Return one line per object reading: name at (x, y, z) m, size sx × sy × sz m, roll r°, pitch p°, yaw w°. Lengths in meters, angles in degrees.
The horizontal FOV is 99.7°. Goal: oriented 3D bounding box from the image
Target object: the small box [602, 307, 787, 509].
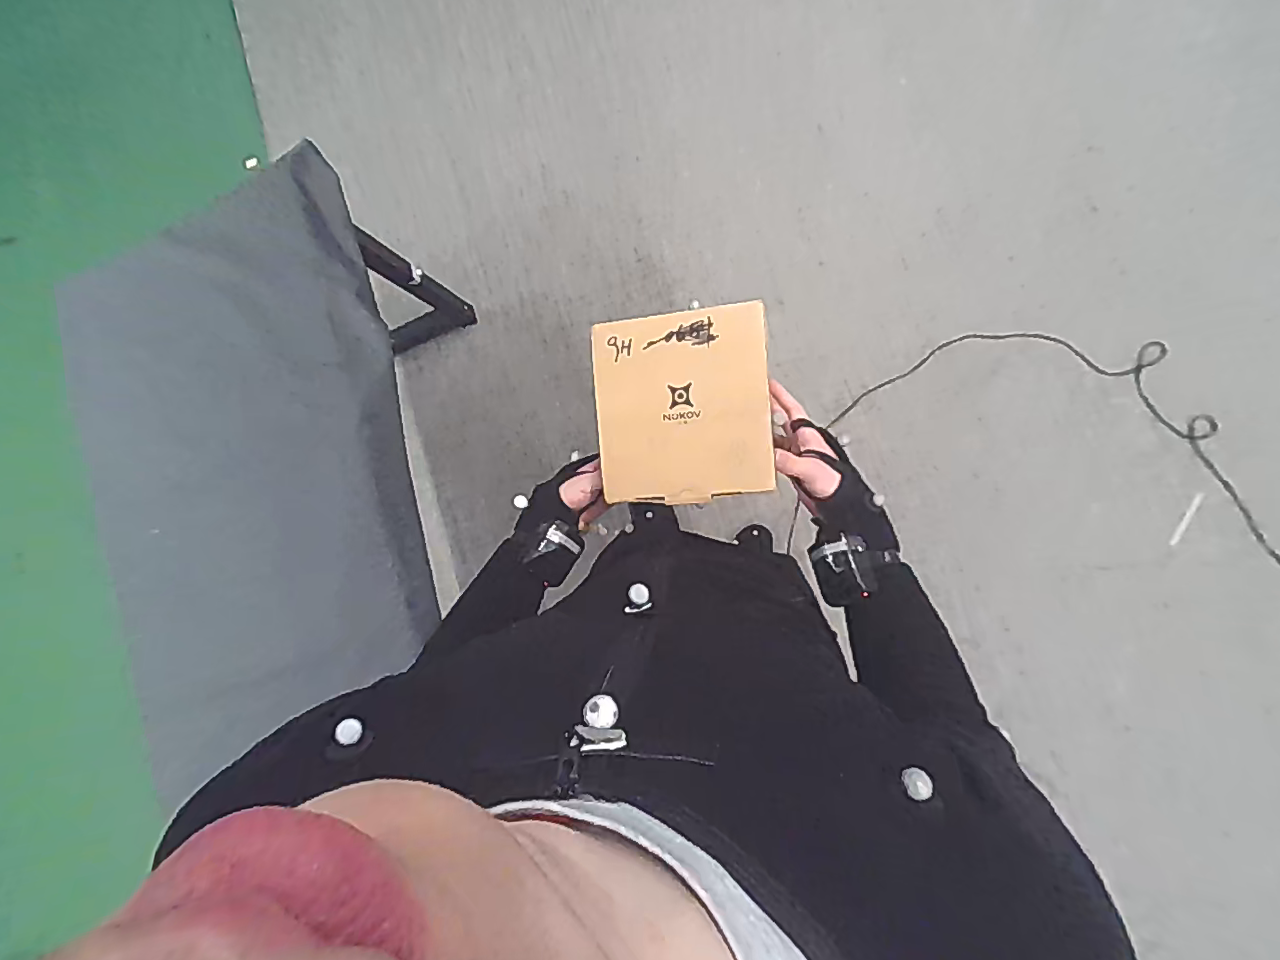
small box at (0.069, -0.068, 0.580) m, size 0.168 × 0.176 × 0.179 m, roll -5°, pitch 91°, yaw 14°
